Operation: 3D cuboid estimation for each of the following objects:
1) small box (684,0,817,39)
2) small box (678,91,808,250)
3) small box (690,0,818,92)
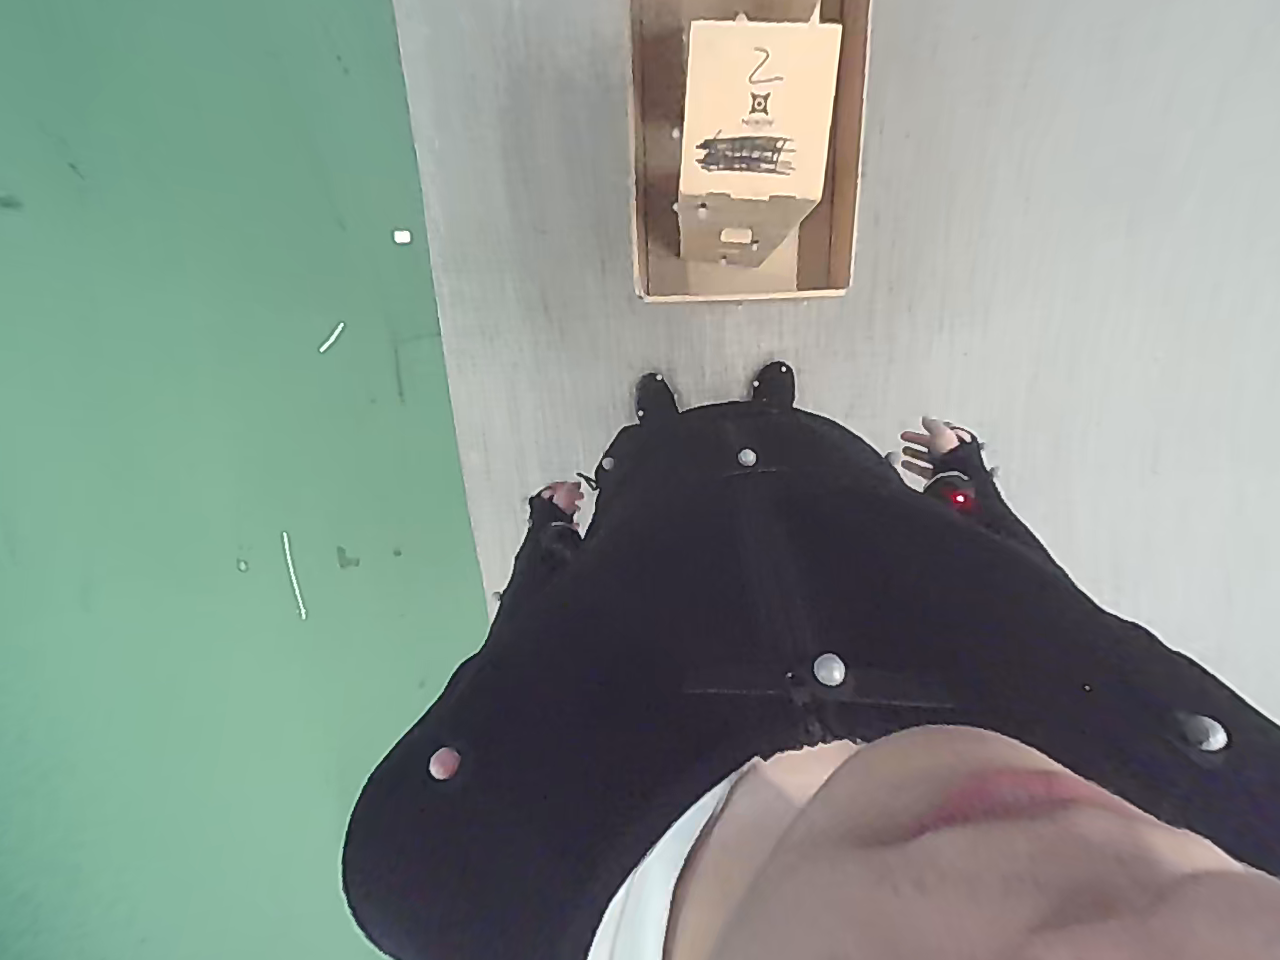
[{"bbox_3d":[0.141,-0.664,0.628,0.168,0.176,0.179,7,106,3],"label":"small box"},{"bbox_3d":[0.150,-0.466,0.840,0.168,0.176,0.179,5,103,3],"label":"small box"},{"bbox_3d":[0.158,-0.702,0.787,0.168,0.176,0.179,-2,105,5],"label":"small box"}]
